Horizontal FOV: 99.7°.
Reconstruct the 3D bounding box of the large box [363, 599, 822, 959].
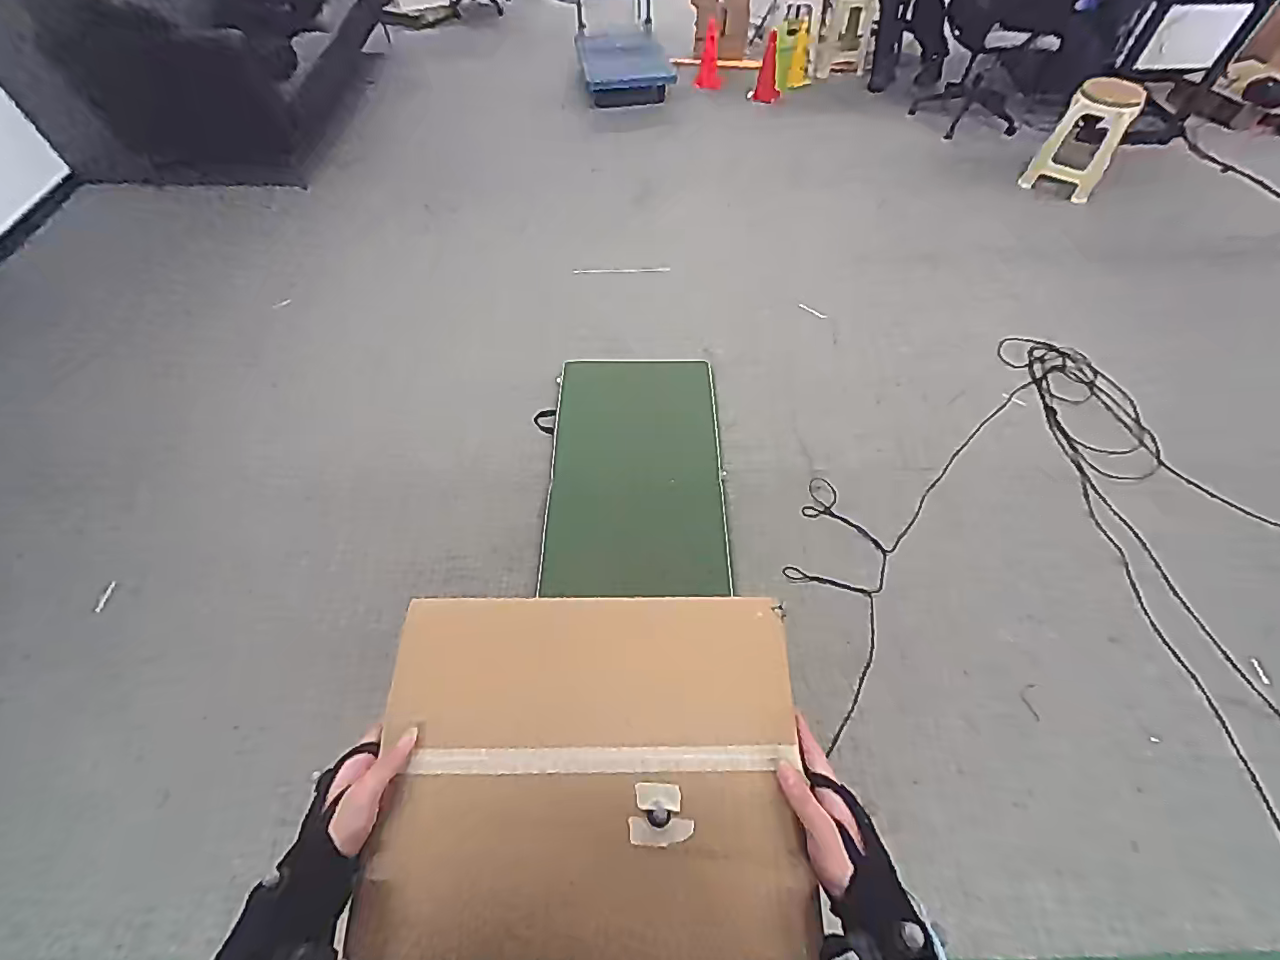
[{"bbox_3d":[-0.045,0.343,0.662,0.408,0.320,0.320,0,62,0],"label":"large box"}]
